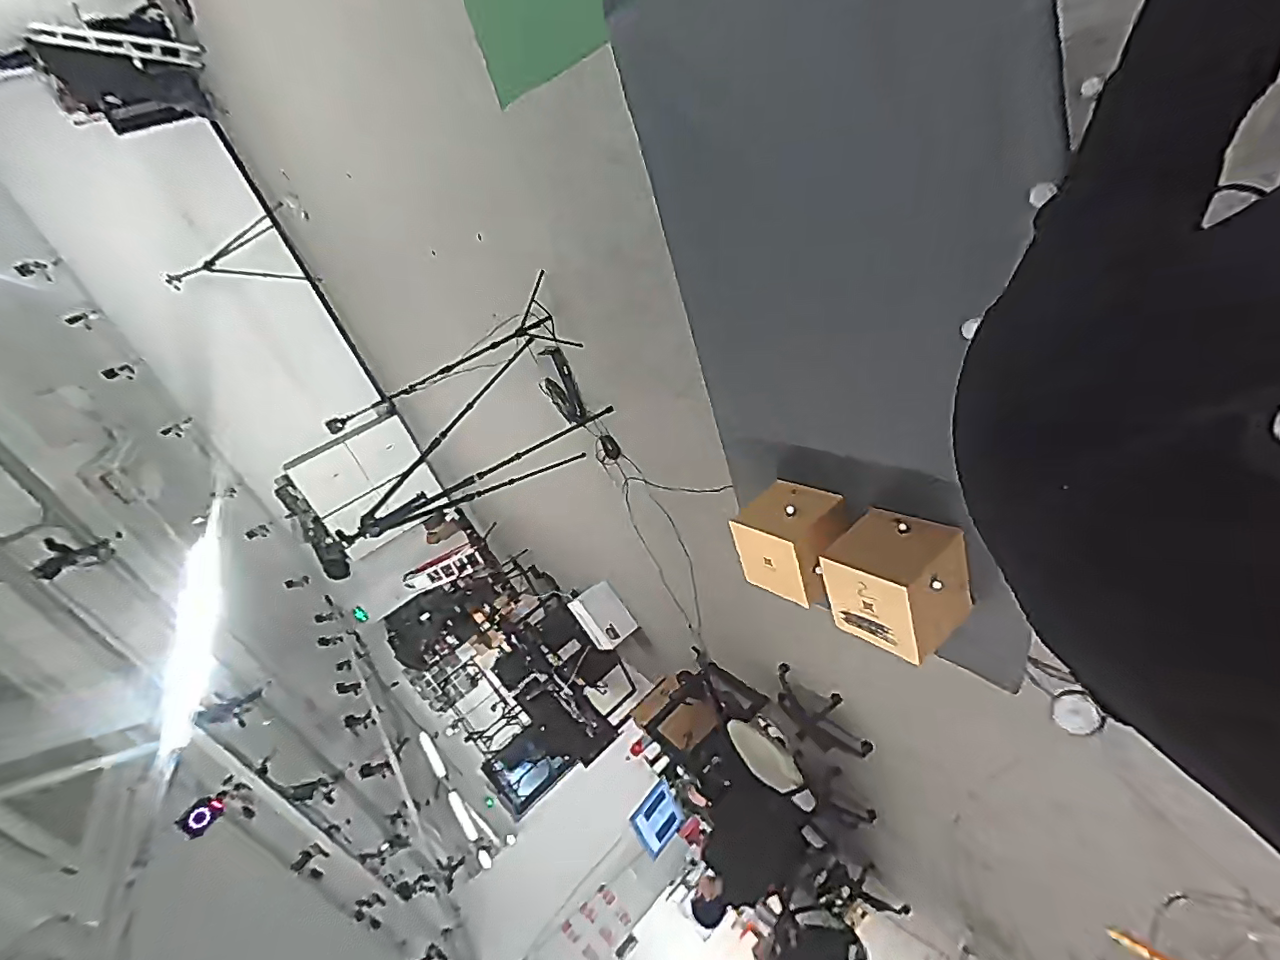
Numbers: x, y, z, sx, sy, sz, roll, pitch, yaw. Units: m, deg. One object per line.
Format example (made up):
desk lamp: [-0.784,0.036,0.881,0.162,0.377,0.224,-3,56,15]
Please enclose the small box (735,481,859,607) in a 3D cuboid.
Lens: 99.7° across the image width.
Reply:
small box: [0.330,0.124,1.127,0.168,0.176,0.179,18,137,52]
